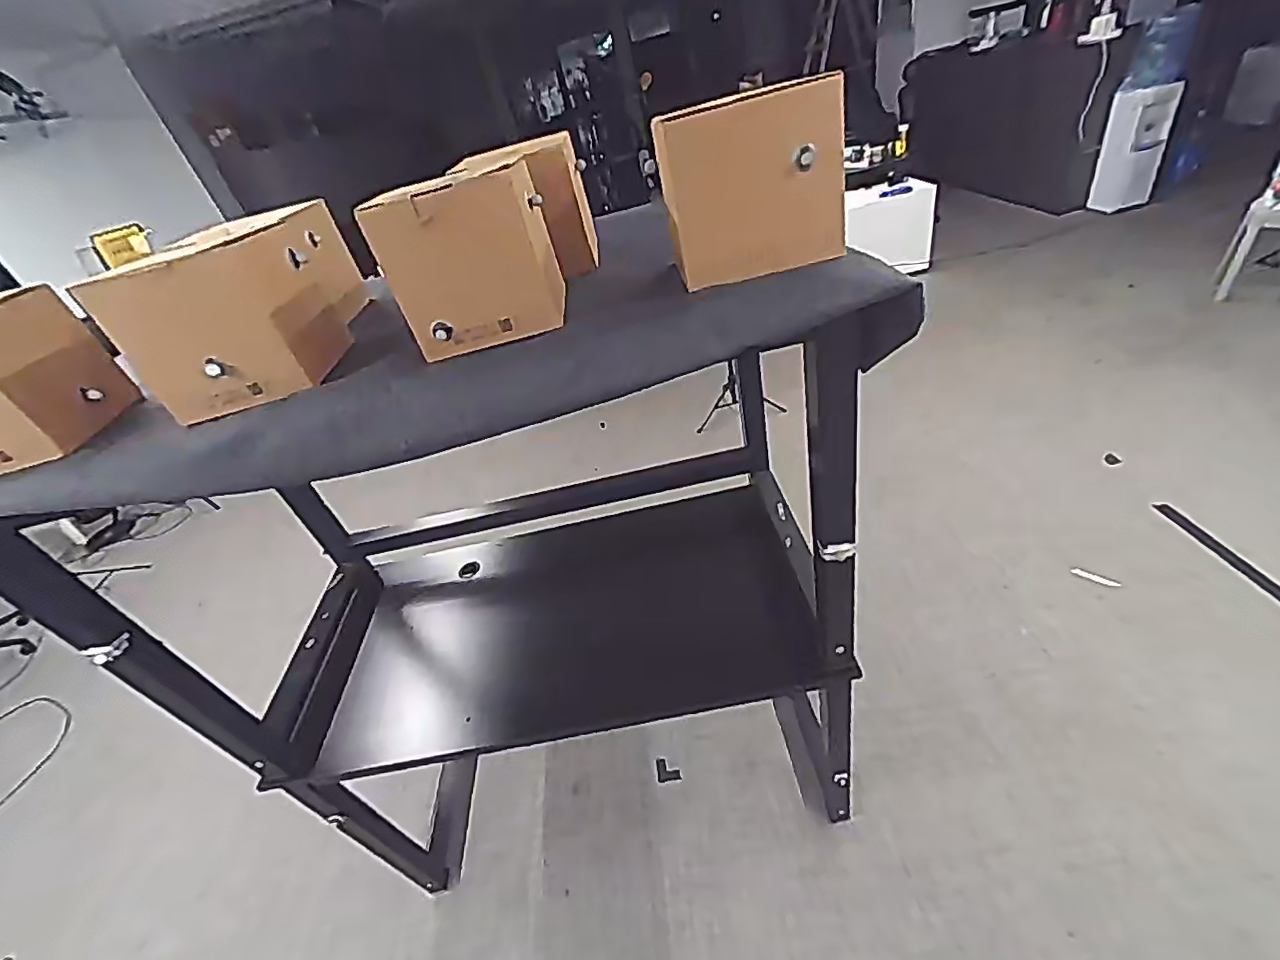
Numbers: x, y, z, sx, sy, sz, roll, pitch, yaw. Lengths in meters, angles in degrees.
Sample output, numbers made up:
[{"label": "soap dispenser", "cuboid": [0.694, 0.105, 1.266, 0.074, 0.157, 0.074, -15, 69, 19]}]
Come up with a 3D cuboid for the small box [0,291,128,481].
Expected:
[{"label": "small box", "cuboid": [-0.796, -0.106, 0.659, 0.168, 0.176, 0.179, -17, 37, -2]}]

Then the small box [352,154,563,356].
[{"label": "small box", "cuboid": [-0.193, -0.261, 0.637, 0.168, 0.176, 0.179, -14, 35, 3]}]

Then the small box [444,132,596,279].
[{"label": "small box", "cuboid": [-0.167, -0.403, 0.816, 0.168, 0.176, 0.179, -13, 38, 4]}]
